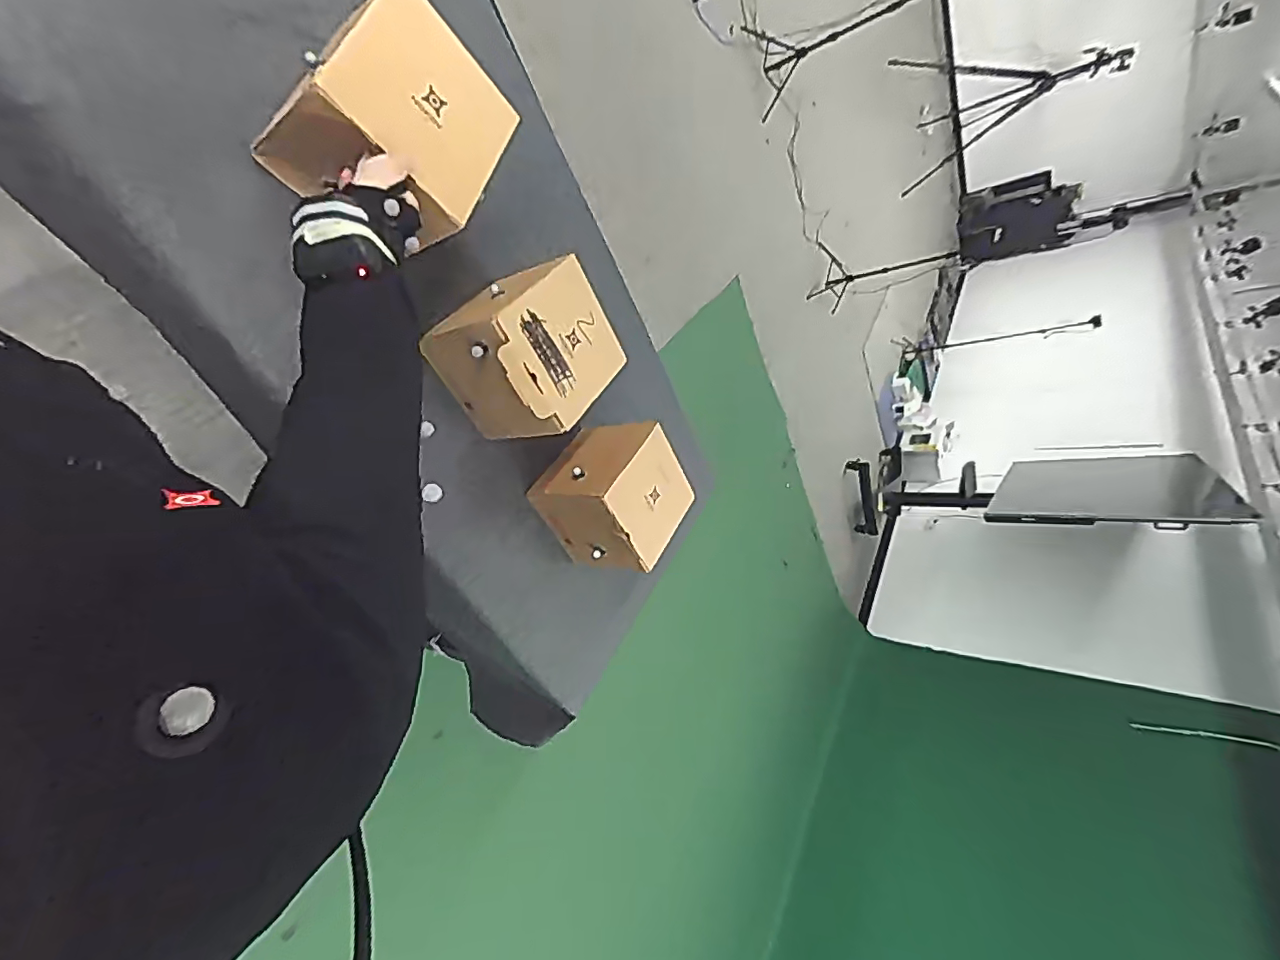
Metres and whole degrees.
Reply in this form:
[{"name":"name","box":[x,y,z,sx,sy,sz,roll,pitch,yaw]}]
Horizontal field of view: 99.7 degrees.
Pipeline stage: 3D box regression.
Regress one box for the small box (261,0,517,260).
[{"name":"small box","box":[-0.274,-0.378,0.597,0.168,0.176,0.179,38,62,-46]}]

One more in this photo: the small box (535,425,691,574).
[{"name":"small box","box":[-0.047,0.029,0.887,0.179,0.176,0.168,-56,132,-36]}]
